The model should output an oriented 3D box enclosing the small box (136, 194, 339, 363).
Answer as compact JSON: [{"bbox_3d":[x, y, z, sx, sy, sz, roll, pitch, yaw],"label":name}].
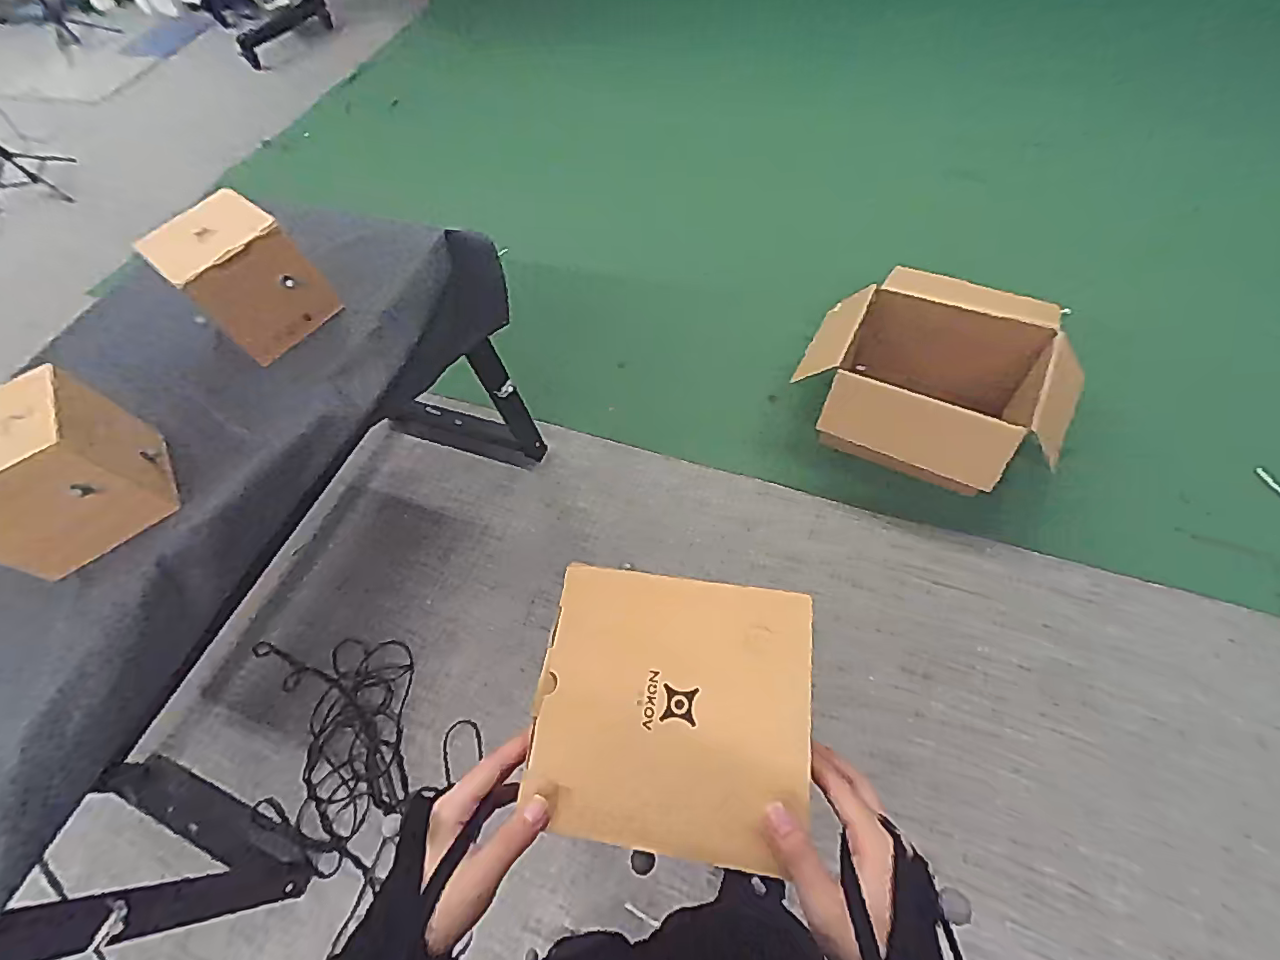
[{"bbox_3d":[-0.633,-0.317,0.871,0.179,0.176,0.168,33,69,26],"label":"small box"}]
